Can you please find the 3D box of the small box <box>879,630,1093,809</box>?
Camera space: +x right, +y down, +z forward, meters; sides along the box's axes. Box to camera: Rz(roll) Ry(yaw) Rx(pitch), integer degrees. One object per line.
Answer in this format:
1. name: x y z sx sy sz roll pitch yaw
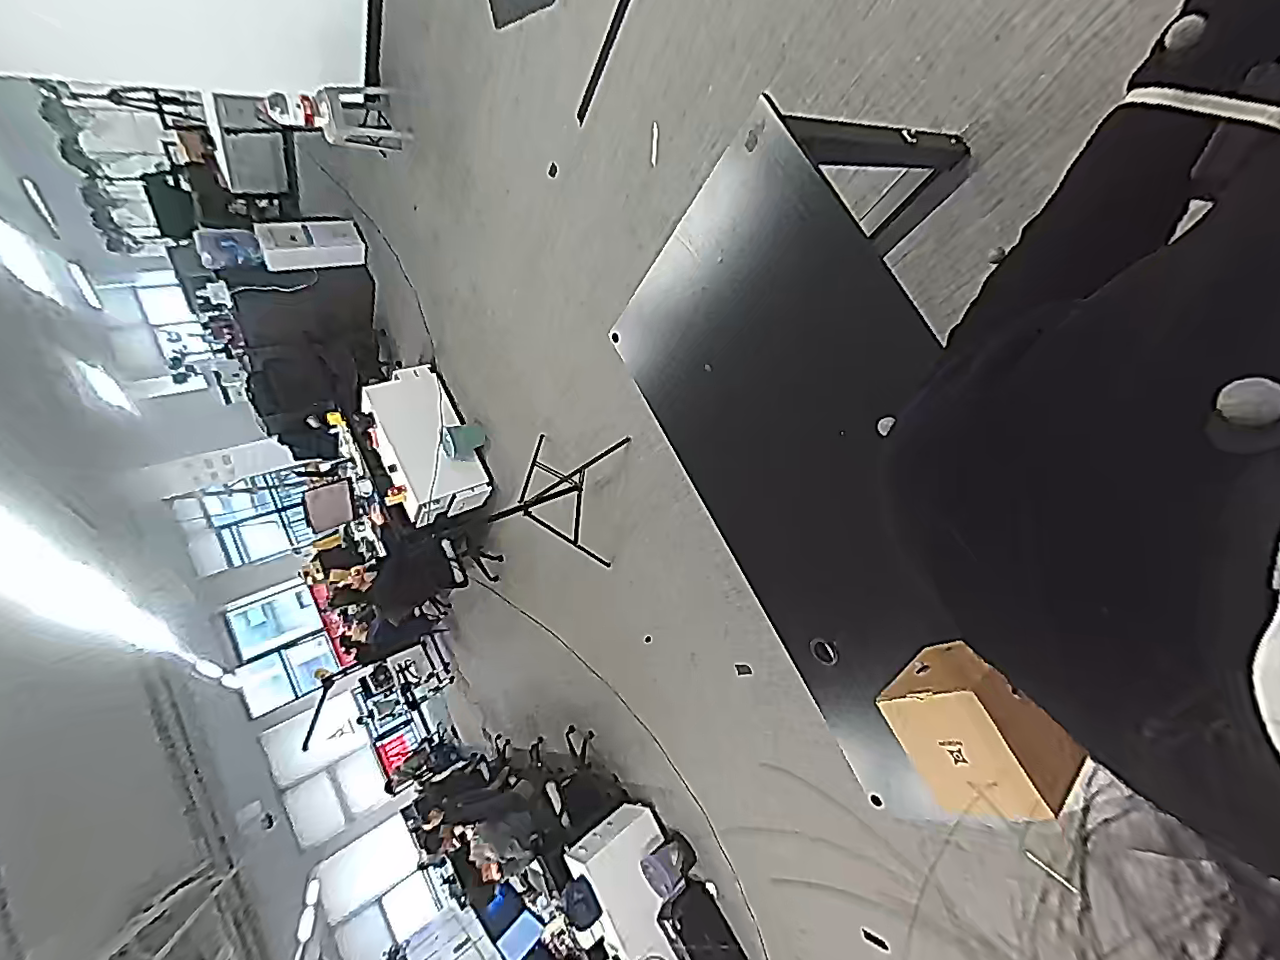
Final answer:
1. small box: 0.496 0.335 0.783 0.179 0.176 0.168 60 146 11
